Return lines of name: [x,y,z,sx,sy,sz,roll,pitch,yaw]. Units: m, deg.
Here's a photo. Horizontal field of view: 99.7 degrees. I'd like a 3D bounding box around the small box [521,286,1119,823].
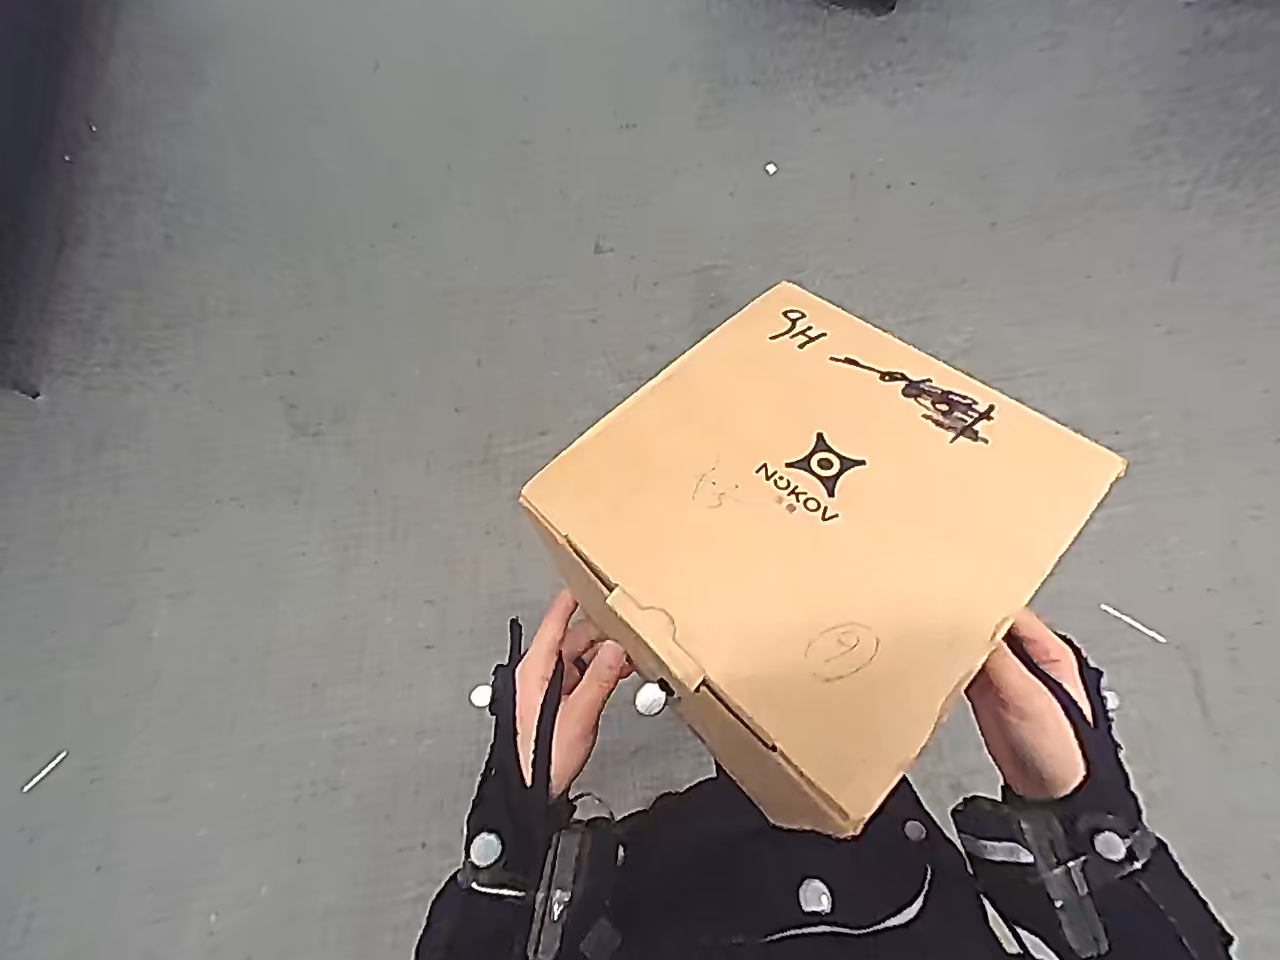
small box: [0.074,0.043,0.282,0.179,0.176,0.168,-40,62,-17]
